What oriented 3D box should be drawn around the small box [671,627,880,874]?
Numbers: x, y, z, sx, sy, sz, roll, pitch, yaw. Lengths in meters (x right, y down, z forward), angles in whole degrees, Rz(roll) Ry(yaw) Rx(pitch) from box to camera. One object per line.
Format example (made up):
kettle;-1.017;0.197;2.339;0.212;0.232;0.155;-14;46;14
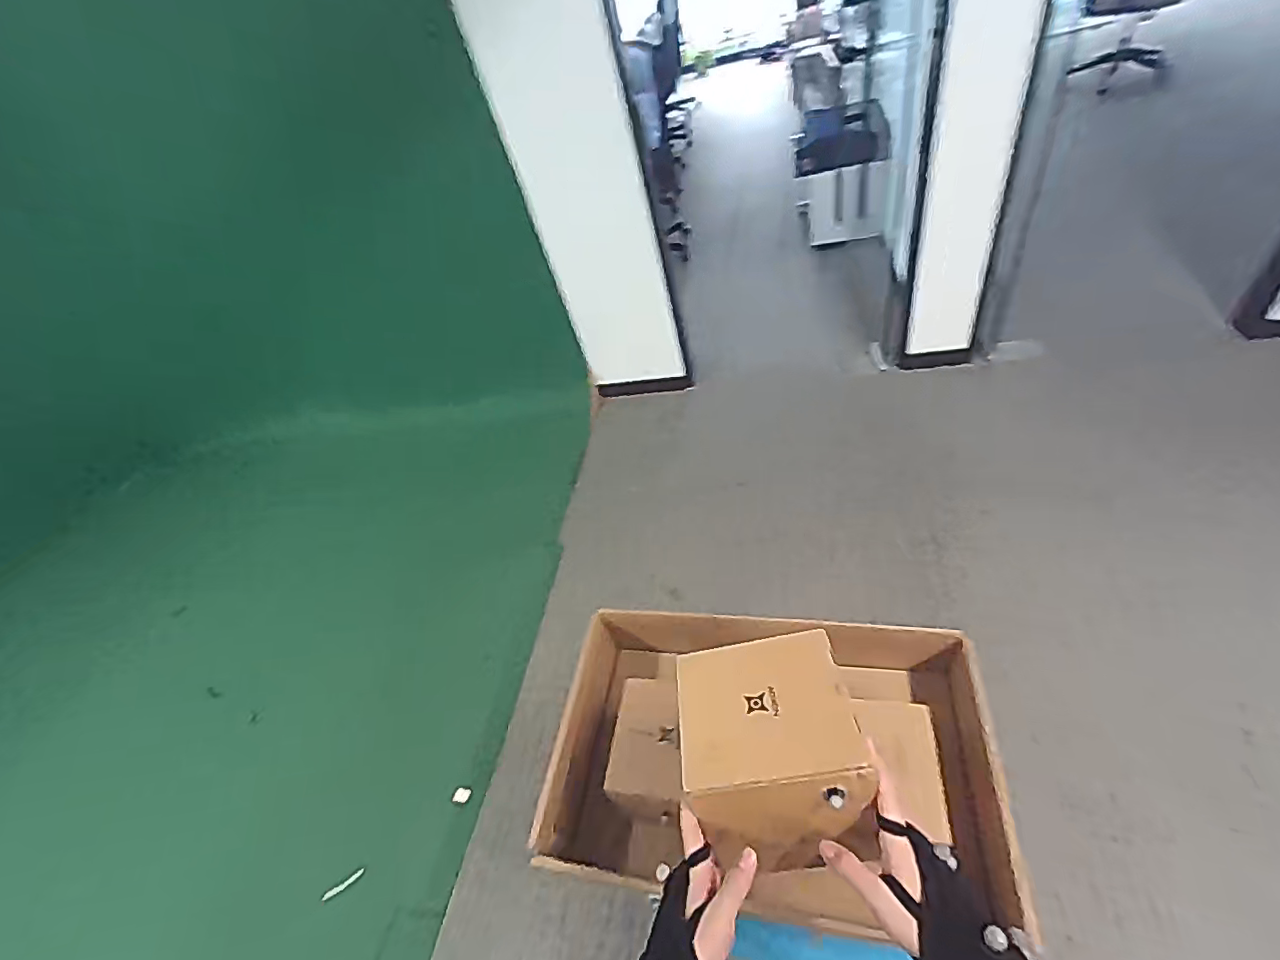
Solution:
small box;0.140;0.291;0.583;0.179;0.176;0.168;-14;29;9
